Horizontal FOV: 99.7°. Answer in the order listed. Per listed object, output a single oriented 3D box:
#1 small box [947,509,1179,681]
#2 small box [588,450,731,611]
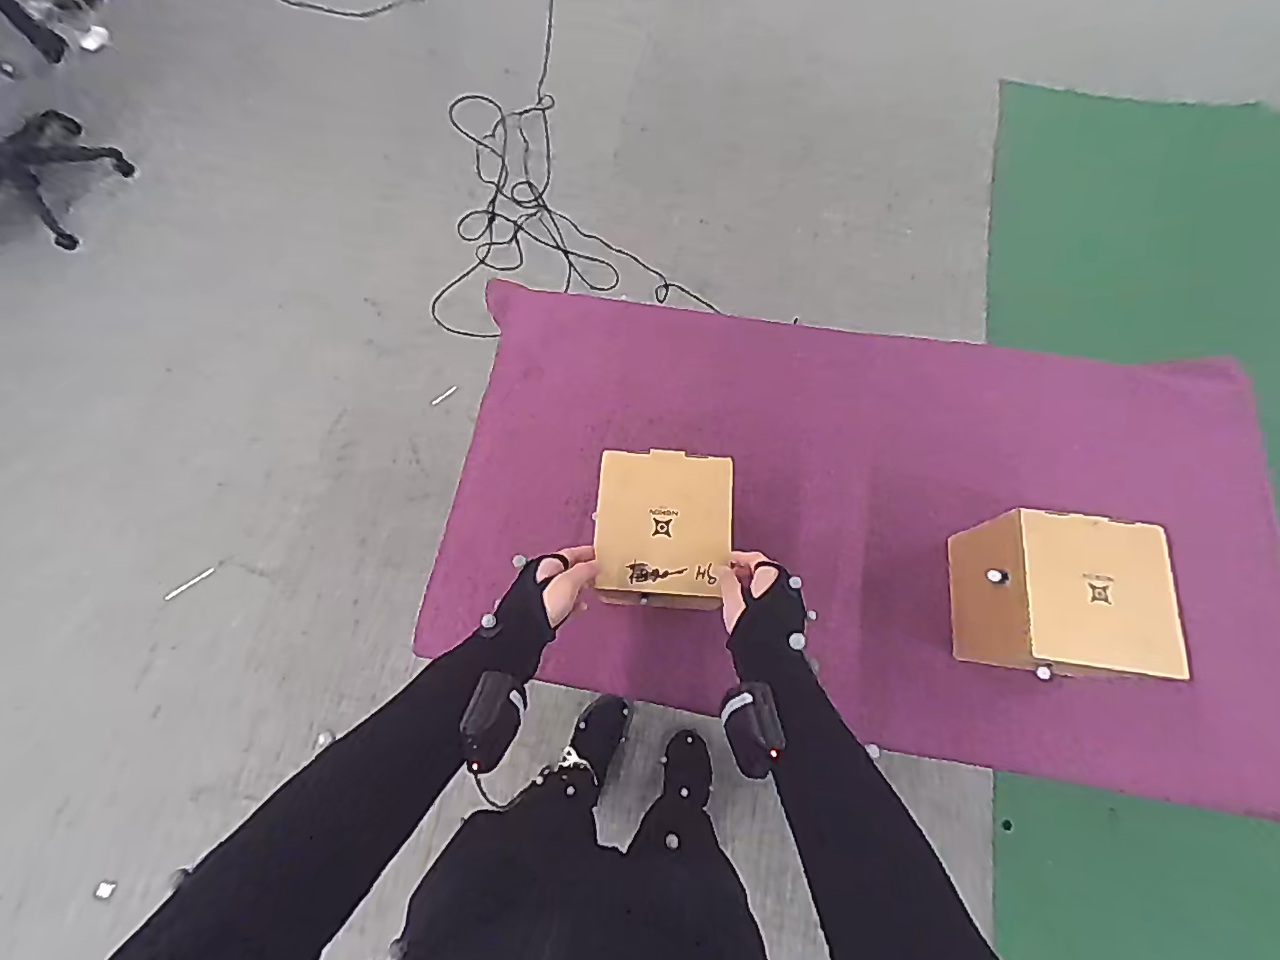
[{"bbox_3d":[0.517,0.152,0.691,0.168,0.176,0.179,7,71,5],"label":"small box"},{"bbox_3d":[0.027,0.075,0.730,0.168,0.176,0.179,3,72,3],"label":"small box"}]
